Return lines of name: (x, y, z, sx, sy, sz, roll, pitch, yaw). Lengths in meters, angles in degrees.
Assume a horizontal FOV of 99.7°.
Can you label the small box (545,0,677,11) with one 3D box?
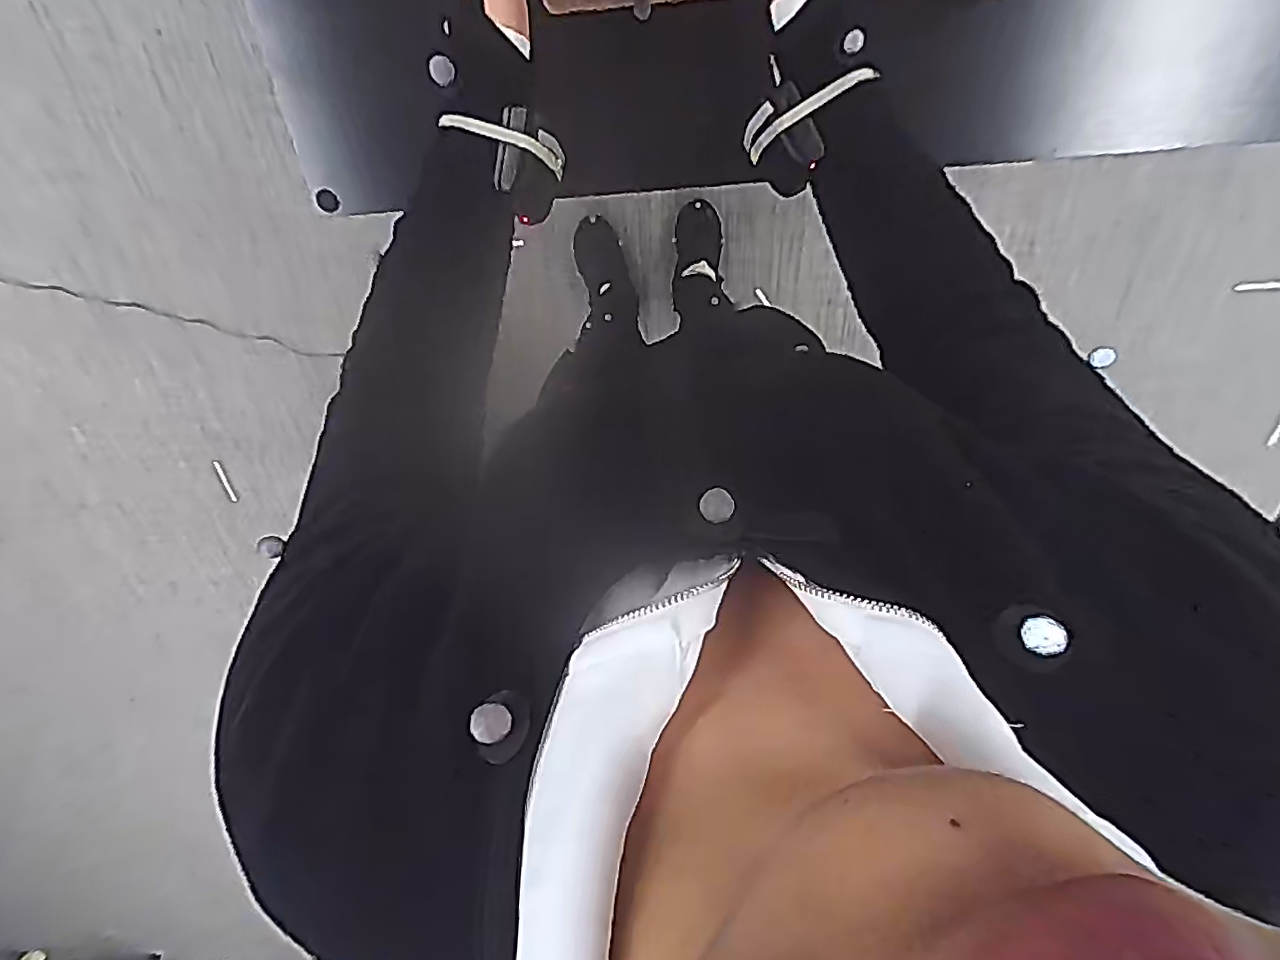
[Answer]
small box: (-0.007, -0.487, 0.411, 0.179, 0.176, 0.168, -6, 120, 0)
